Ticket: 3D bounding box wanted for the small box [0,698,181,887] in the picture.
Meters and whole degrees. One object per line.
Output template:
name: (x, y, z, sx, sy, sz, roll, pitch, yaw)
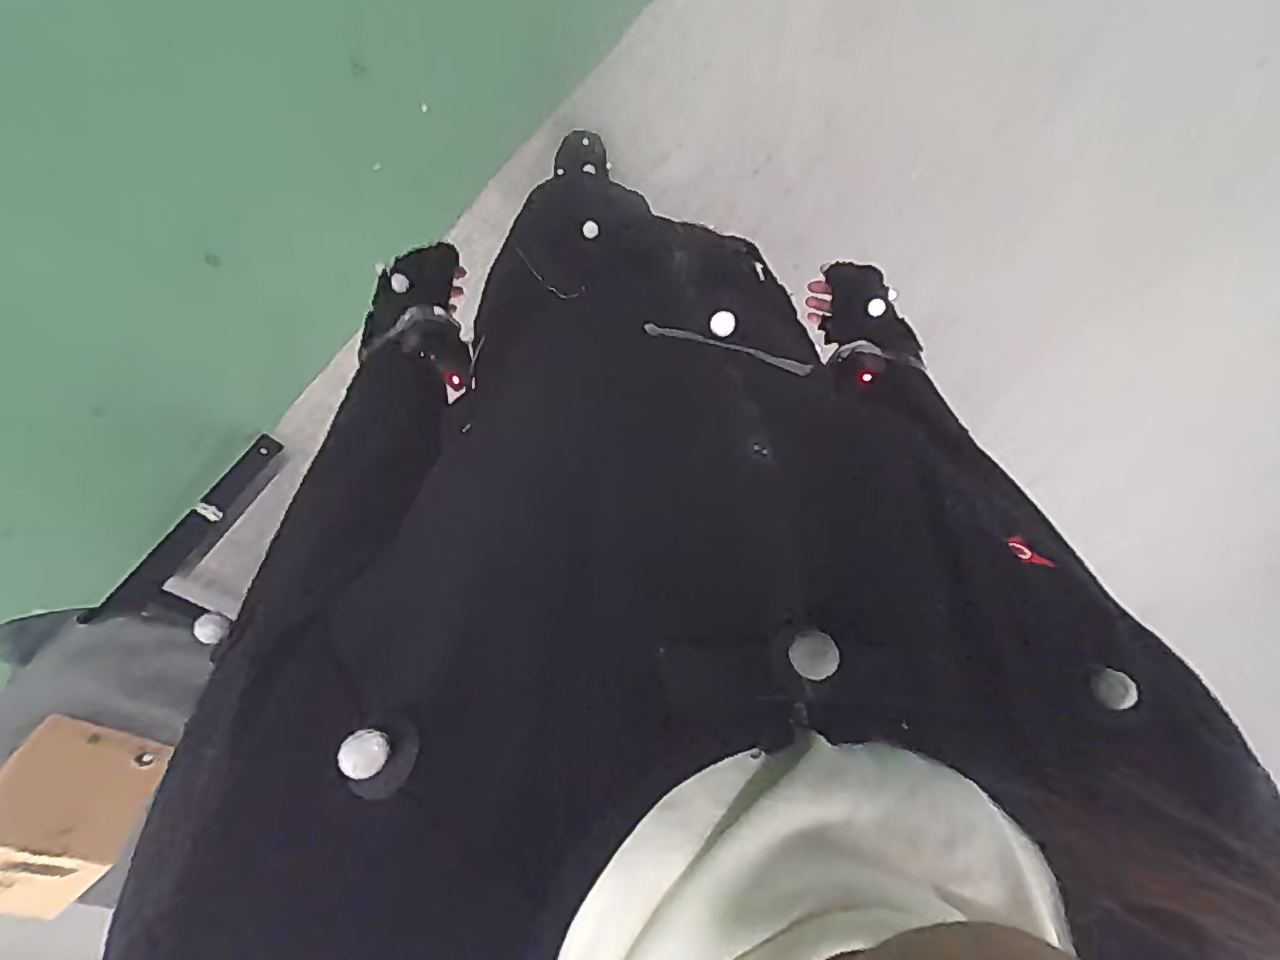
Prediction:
small box: (-0.822, 0.448, 0.782, 0.179, 0.176, 0.168, -39, 123, 17)
